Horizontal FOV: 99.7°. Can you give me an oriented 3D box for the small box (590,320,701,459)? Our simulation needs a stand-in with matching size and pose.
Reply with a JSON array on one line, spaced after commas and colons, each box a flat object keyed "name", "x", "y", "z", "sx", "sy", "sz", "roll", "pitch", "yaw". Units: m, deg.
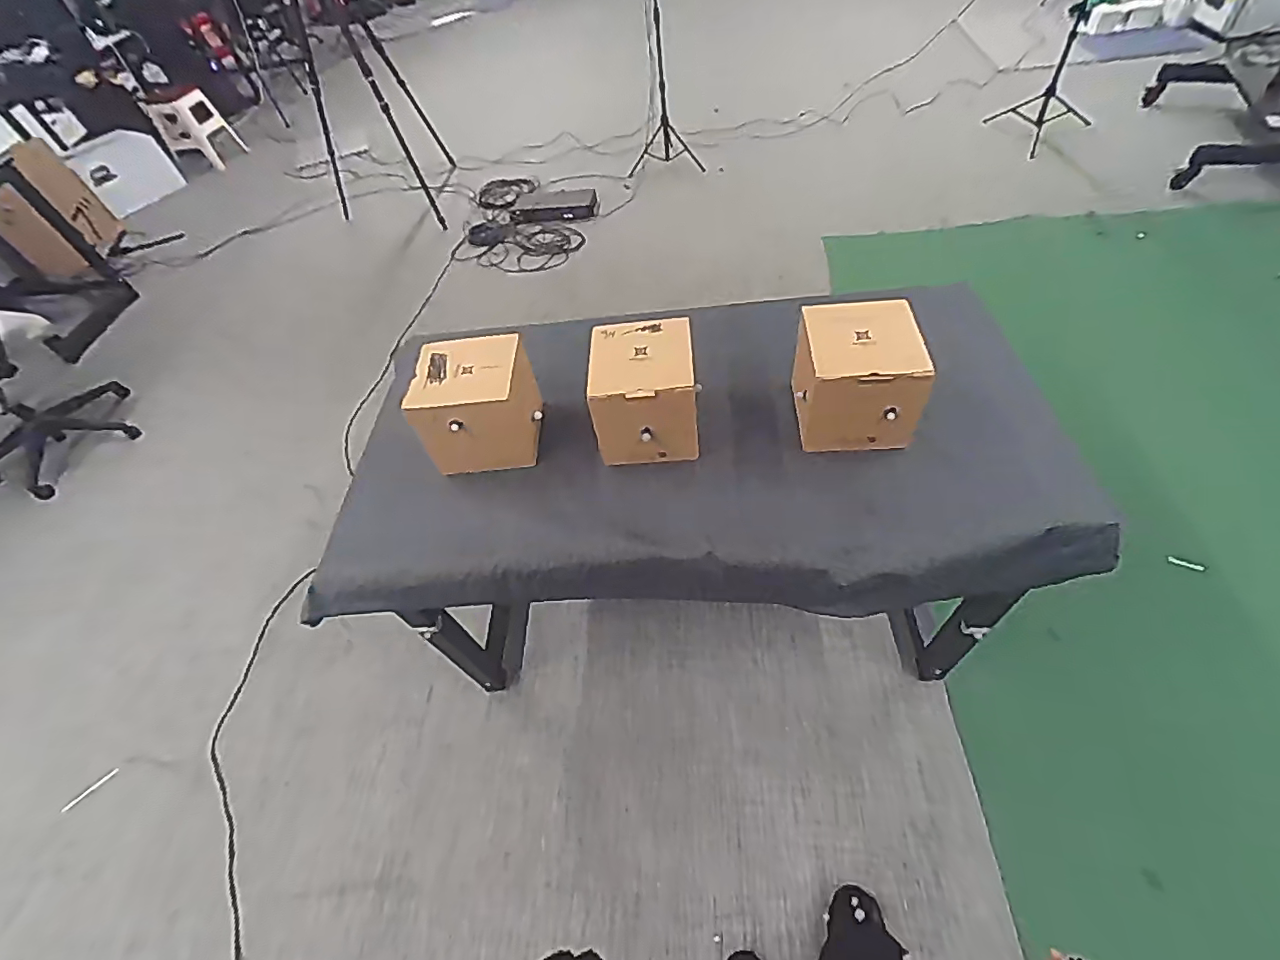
[{"name": "small box", "x": 0.016, "y": -0.147, "z": 0.928, "sx": 0.168, "sy": 0.176, "sz": 0.179, "roll": -3, "pitch": 53, "yaw": 6}]

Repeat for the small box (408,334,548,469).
[{"name": "small box", "x": -0.275, "y": -0.133, "z": 0.960, "sx": 0.179, "sy": 0.176, "sz": 0.168, "roll": -4, "pitch": 52, "yaw": 4}]

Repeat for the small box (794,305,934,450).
[{"name": "small box", "x": 0.353, "y": -0.162, "z": 0.890, "sx": 0.168, "sy": 0.176, "sz": 0.179, "roll": -1, "pitch": 51, "yaw": 6}]
